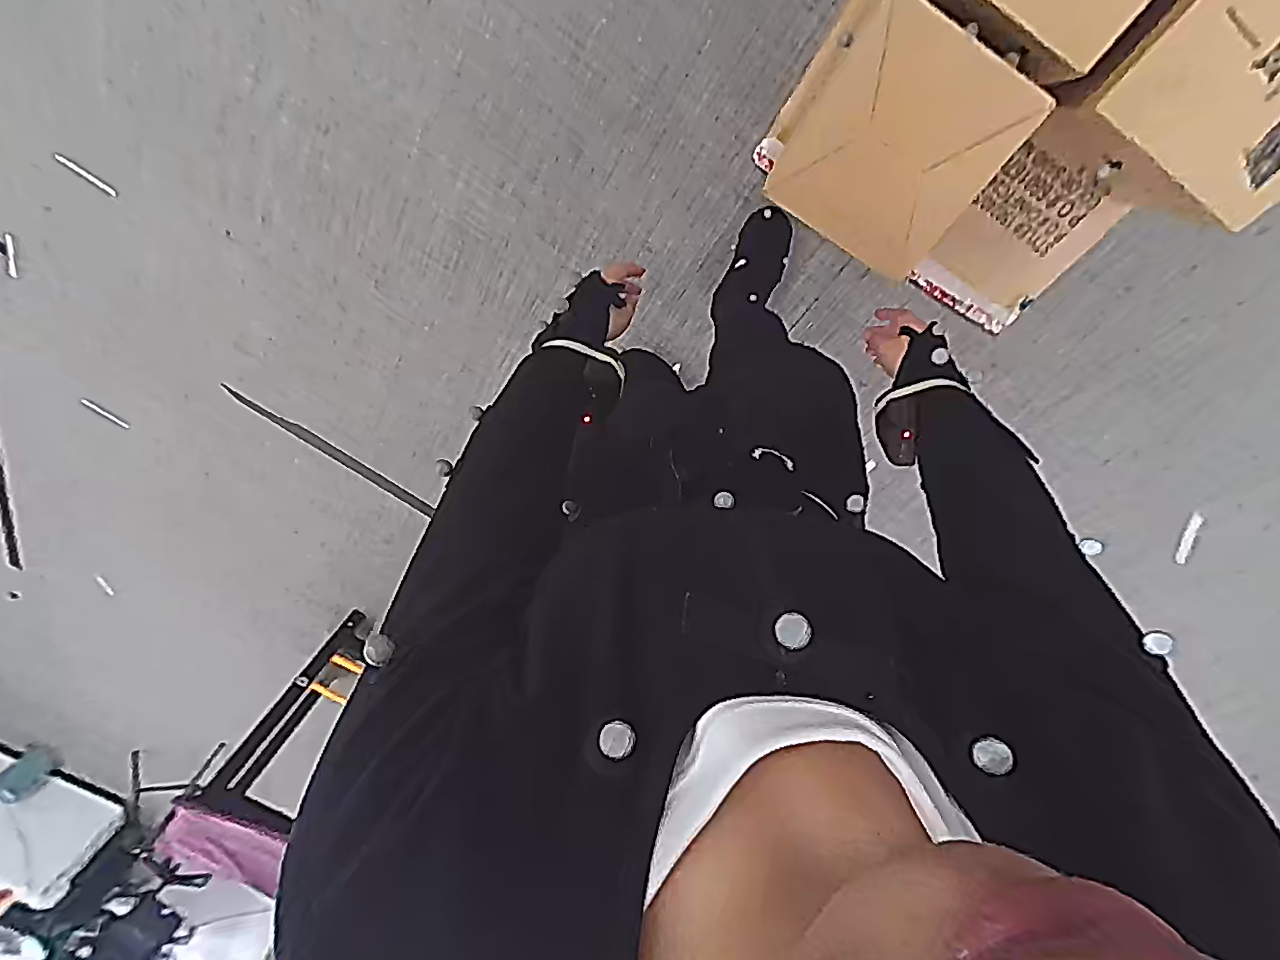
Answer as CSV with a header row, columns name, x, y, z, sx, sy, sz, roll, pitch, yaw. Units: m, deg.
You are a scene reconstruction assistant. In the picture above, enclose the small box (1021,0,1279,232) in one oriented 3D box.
name,x,y,z,sx,sy,sz,roll,pitch,yaw
small box,0.493,-0.357,0.475,0.179,0.176,0.168,32,125,-9
